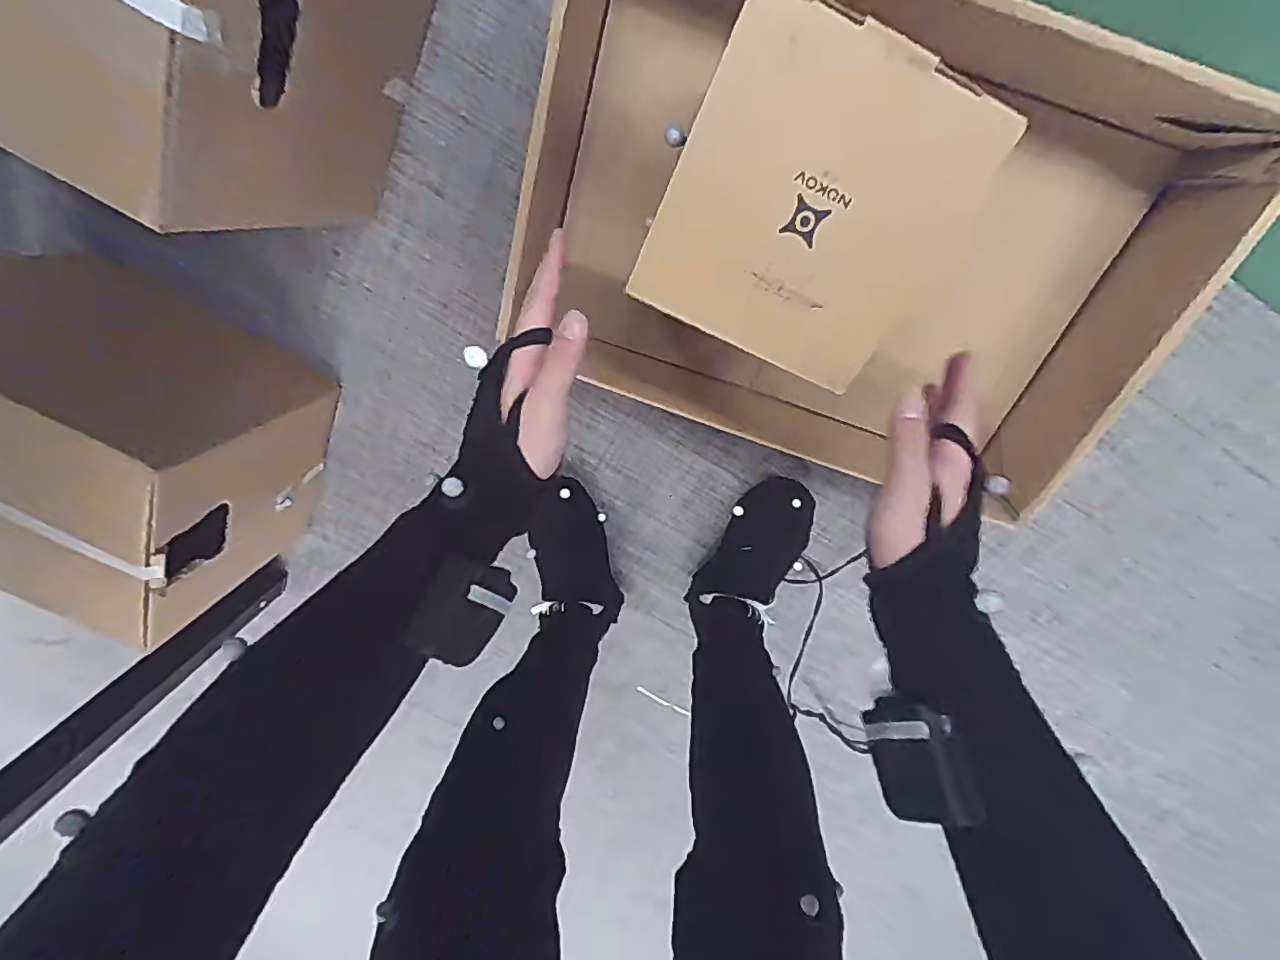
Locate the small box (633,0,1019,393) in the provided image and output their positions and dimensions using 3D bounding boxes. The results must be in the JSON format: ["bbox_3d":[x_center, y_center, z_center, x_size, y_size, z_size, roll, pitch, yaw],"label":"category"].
[{"bbox_3d":[0.107,-0.197,0.393,0.168,0.176,0.179,24,118,-7],"label":"small box"}]

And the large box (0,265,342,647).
[{"bbox_3d":[-0.710,-0.051,0.748,0.408,0.320,0.320,28,116,-4],"label":"large box"}]
